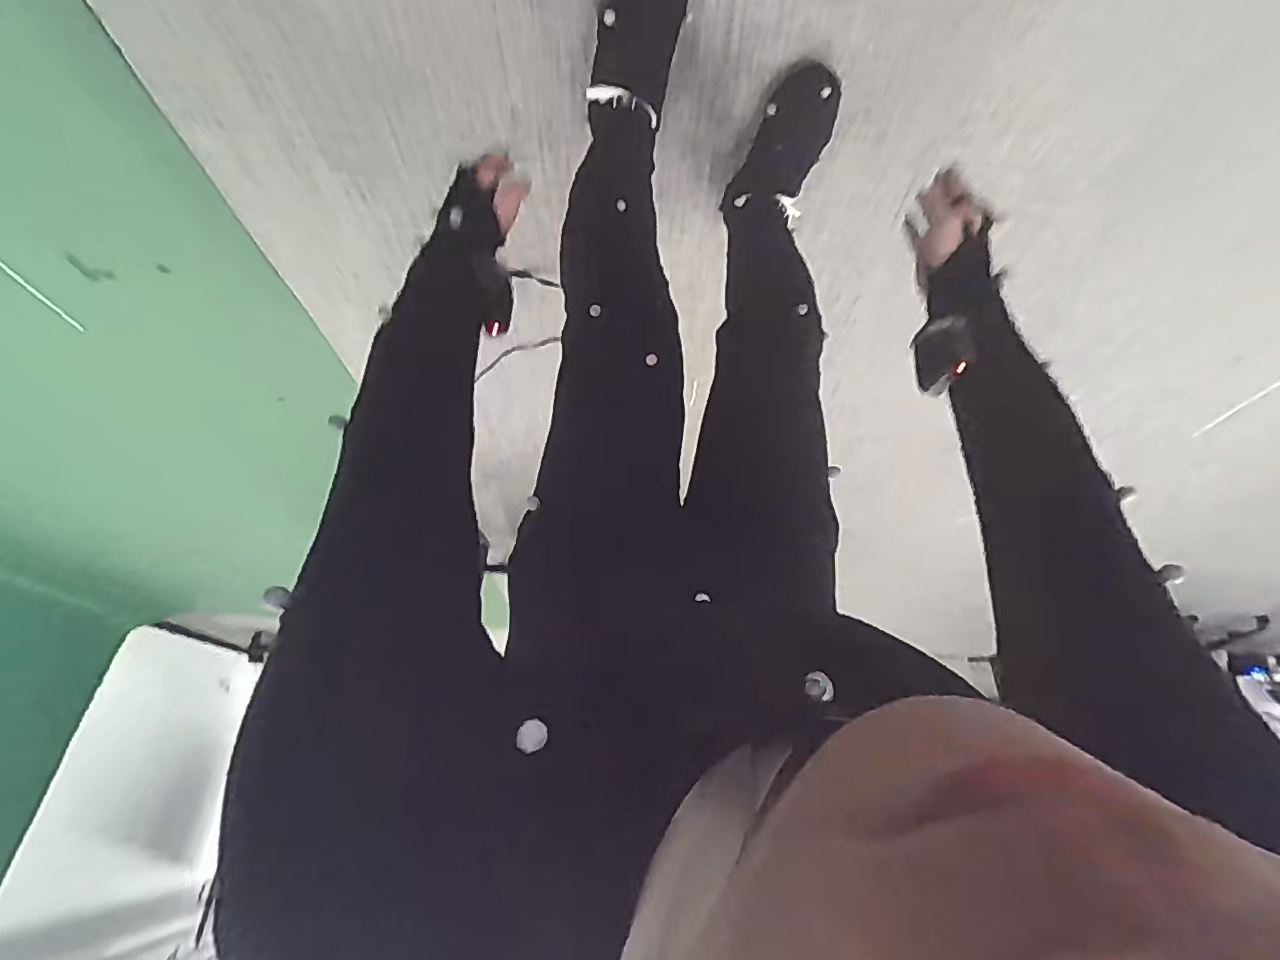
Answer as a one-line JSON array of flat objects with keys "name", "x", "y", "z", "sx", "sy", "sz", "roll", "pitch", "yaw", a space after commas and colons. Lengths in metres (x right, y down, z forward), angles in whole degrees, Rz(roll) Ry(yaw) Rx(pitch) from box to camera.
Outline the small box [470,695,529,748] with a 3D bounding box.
[{"name": "small box", "x": -0.514, "y": 0.898, "z": 2.007, "sx": 0.179, "sy": 0.176, "sz": 0.168, "roll": 4, "pitch": 151, "yaw": -1}]
